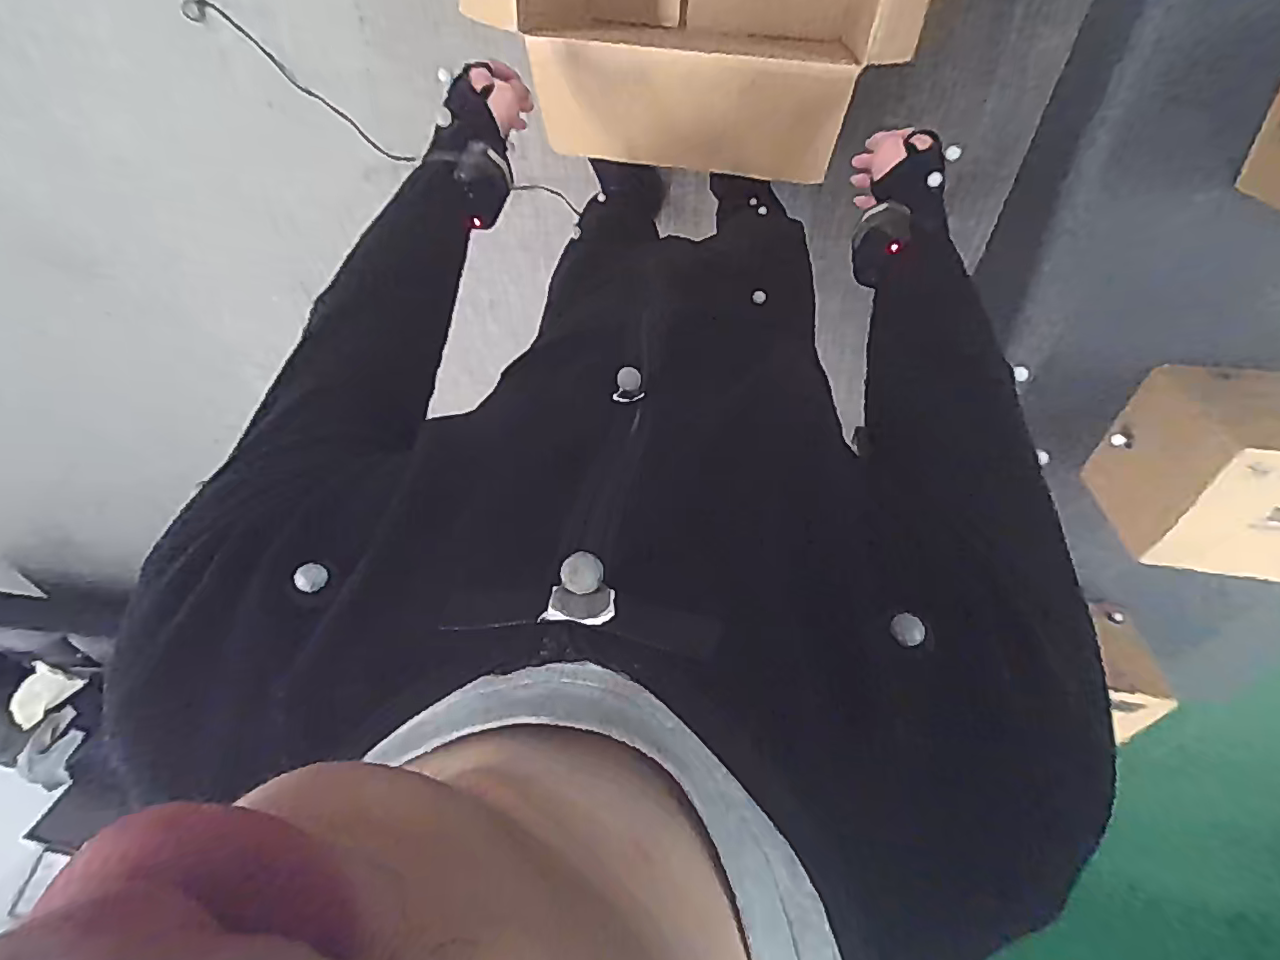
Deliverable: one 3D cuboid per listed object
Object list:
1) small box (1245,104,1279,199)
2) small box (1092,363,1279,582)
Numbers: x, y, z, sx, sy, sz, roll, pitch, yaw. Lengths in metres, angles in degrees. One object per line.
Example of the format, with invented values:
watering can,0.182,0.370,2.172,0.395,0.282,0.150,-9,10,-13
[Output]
small box,0.623,-0.291,0.389,0.179,0.176,0.168,-3,132,14
small box,0.674,-0.010,0.623,0.168,0.176,0.179,7,133,8
